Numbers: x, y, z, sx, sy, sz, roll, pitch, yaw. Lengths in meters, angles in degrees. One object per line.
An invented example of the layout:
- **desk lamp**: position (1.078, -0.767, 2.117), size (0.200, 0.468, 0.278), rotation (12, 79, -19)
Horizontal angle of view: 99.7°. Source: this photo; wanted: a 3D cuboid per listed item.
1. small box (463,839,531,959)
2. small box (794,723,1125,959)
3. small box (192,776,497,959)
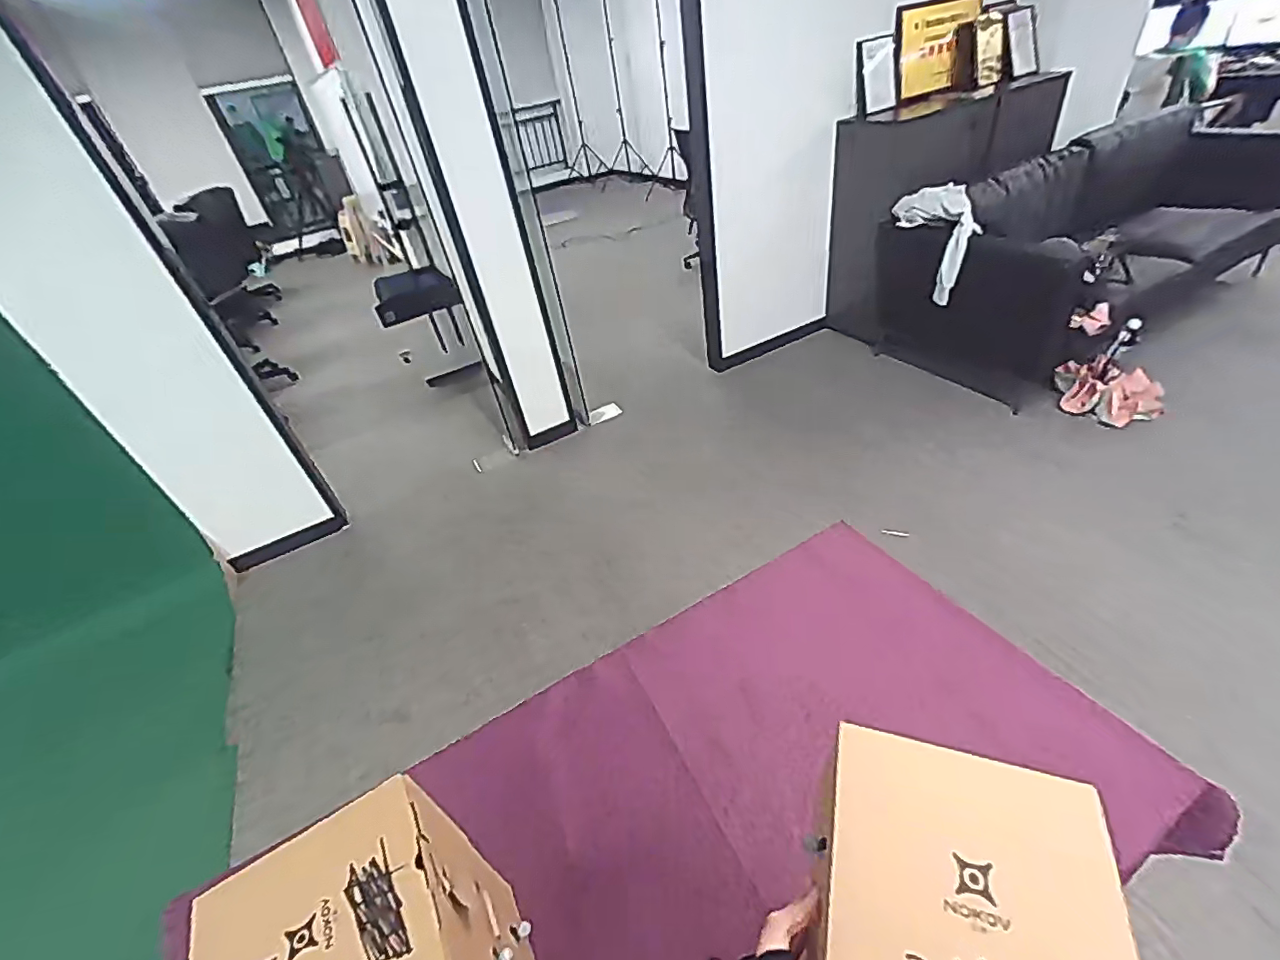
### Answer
- **small box**: position (-0.214, 0.533, 0.568), size (0.179, 0.176, 0.168), rotation (-27, 41, -19)
- **small box**: position (0.208, 0.314, 0.390), size (0.168, 0.176, 0.179), rotation (9, 48, 18)
- **small box**: position (-0.238, 0.406, 0.465), size (0.179, 0.176, 0.168), rotation (-28, 42, -18)
